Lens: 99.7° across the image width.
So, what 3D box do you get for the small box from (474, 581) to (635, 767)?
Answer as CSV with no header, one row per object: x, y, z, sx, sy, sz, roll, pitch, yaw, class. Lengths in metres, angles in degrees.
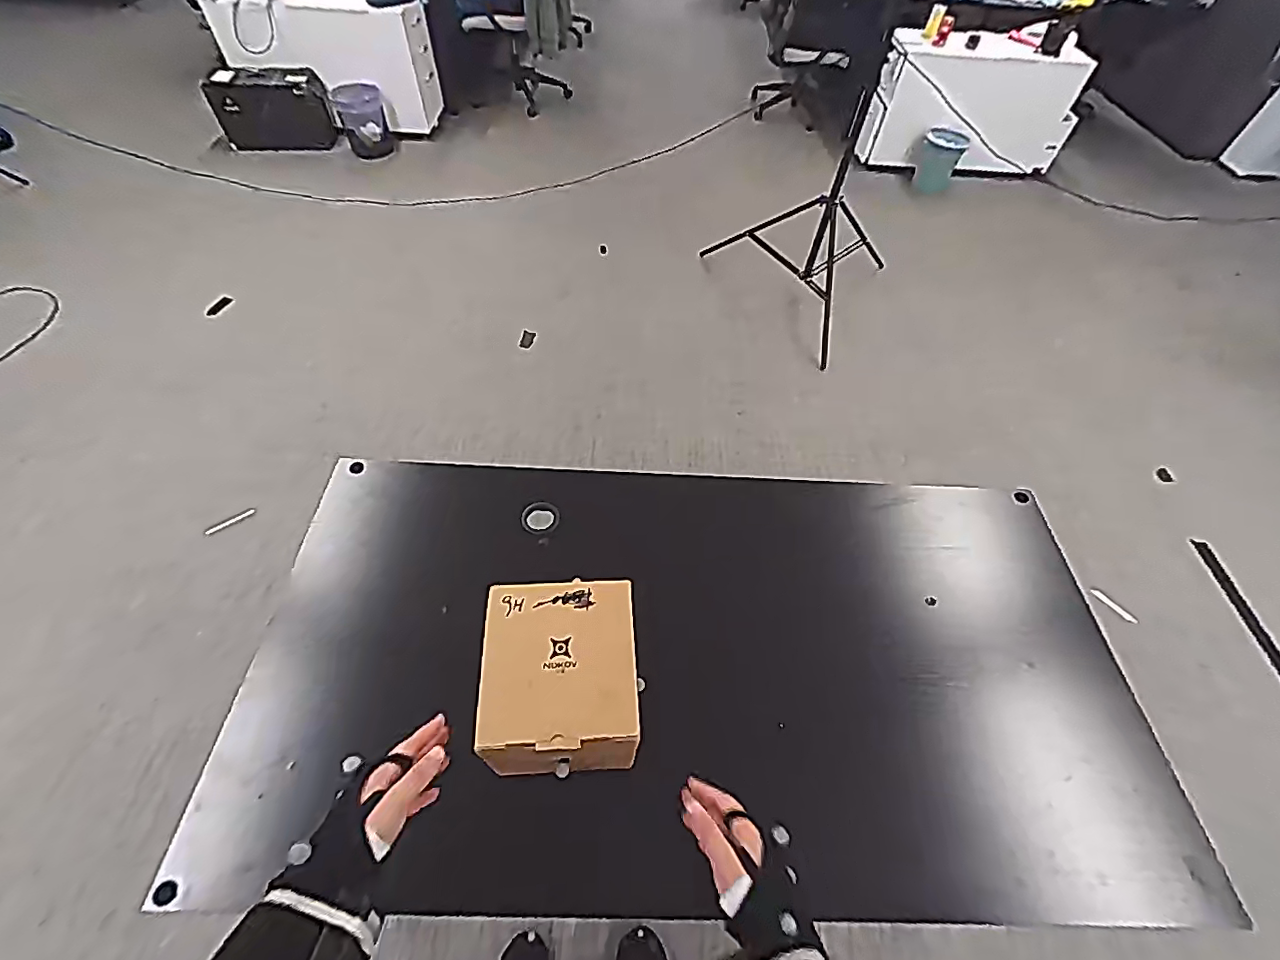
-0.092,0.240,0.654,0.168,0.176,0.179,-2,54,-4,small box
